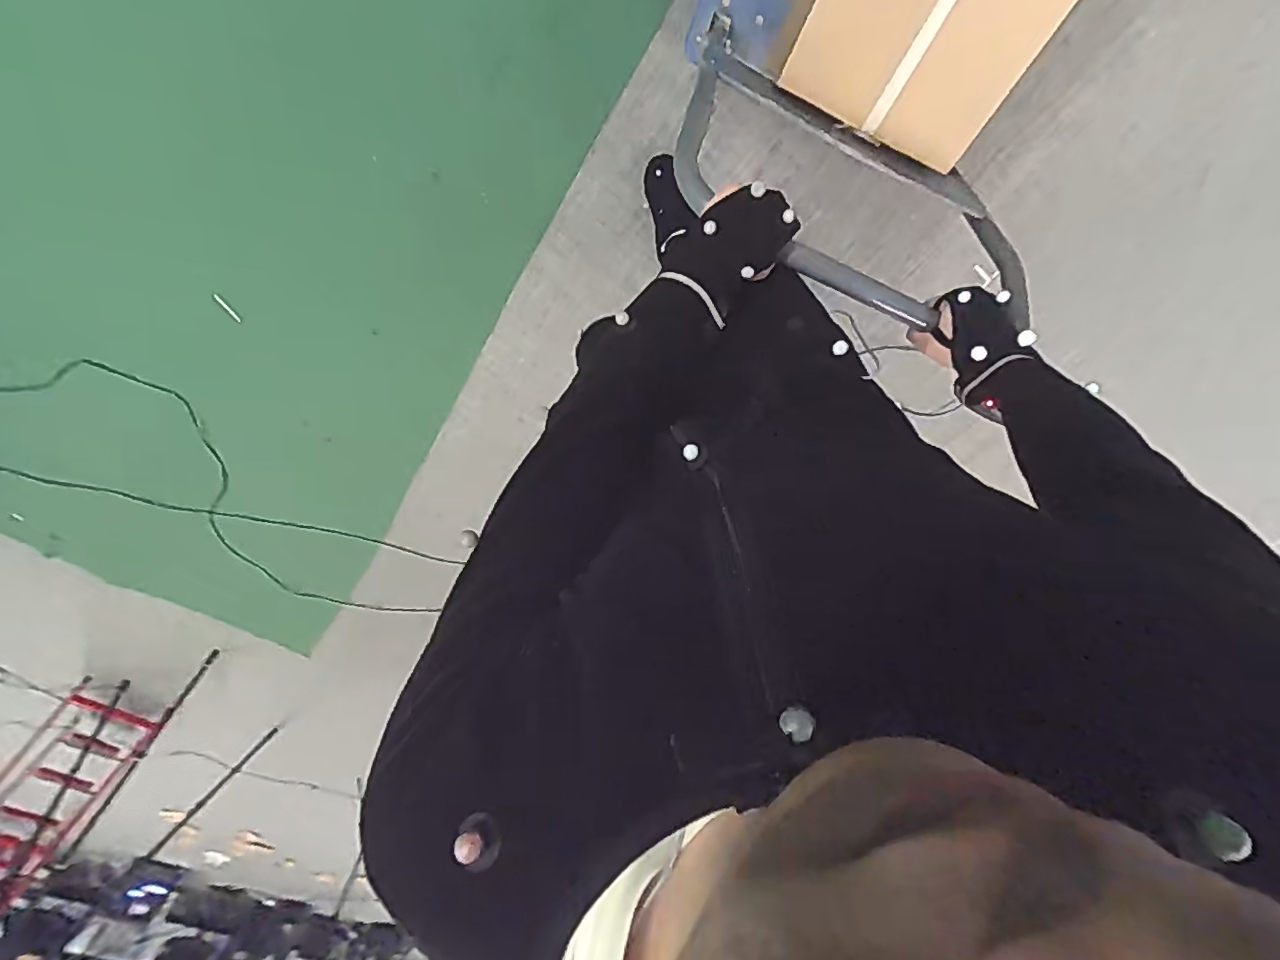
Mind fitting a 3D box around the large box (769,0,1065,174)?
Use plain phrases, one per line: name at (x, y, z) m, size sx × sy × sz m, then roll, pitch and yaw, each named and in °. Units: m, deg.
large box at (0.429, -0.768, 0.816) m, size 0.320 × 0.320 × 0.408 m, roll 20°, pitch 134°, yaw -11°
